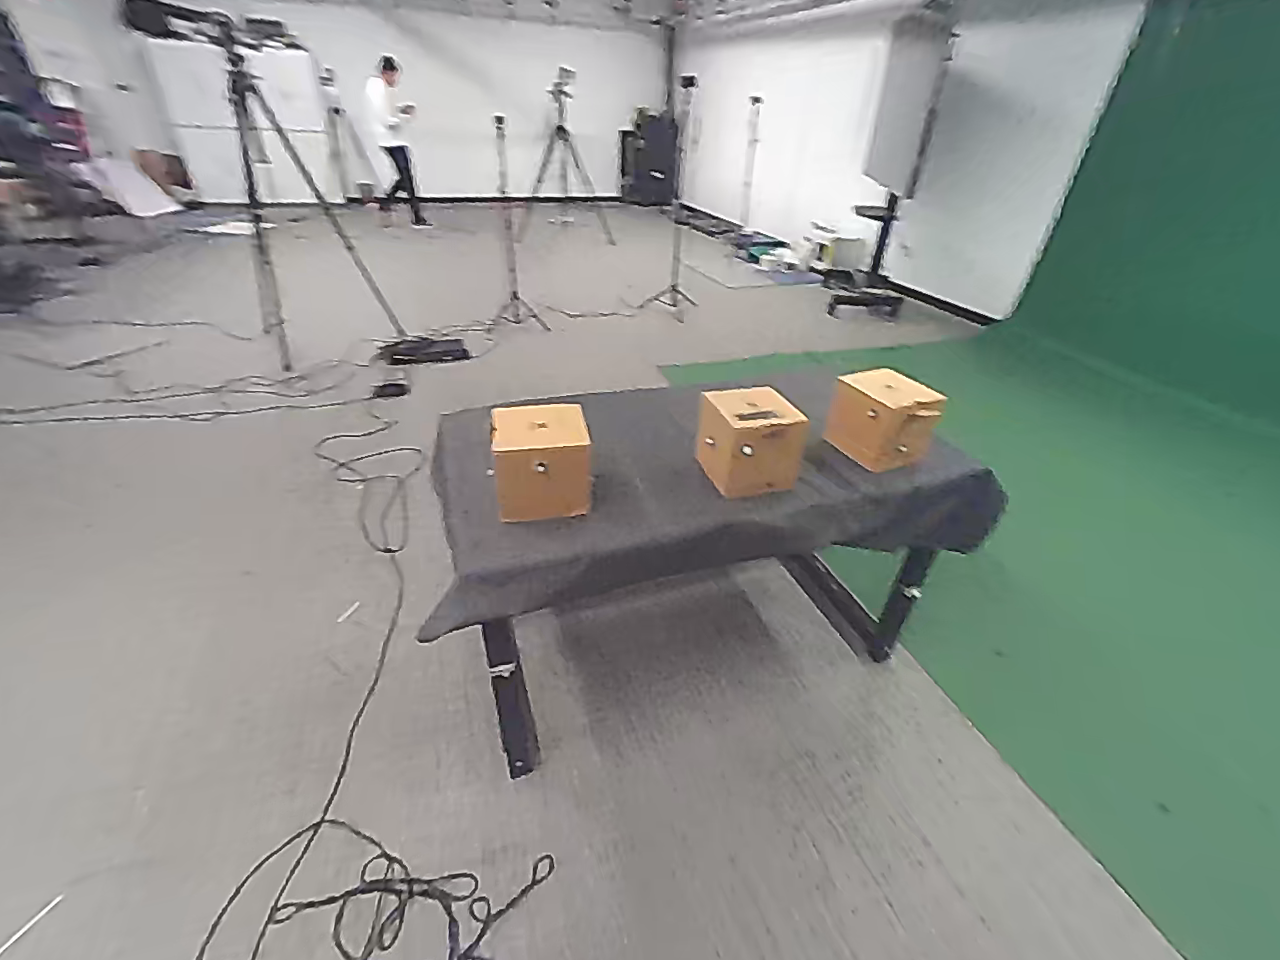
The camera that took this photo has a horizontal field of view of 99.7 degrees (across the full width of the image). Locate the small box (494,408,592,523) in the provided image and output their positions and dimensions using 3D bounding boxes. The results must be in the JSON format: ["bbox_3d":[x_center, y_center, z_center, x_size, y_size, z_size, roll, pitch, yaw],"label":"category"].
[{"bbox_3d":[-0.191,-0.029,1.071,0.179,0.176,0.168,-4,35,-12],"label":"small box"}]

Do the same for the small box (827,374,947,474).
[{"bbox_3d":[0.576,-0.136,1.286,0.168,0.176,0.179,-13,37,-21],"label":"small box"}]
